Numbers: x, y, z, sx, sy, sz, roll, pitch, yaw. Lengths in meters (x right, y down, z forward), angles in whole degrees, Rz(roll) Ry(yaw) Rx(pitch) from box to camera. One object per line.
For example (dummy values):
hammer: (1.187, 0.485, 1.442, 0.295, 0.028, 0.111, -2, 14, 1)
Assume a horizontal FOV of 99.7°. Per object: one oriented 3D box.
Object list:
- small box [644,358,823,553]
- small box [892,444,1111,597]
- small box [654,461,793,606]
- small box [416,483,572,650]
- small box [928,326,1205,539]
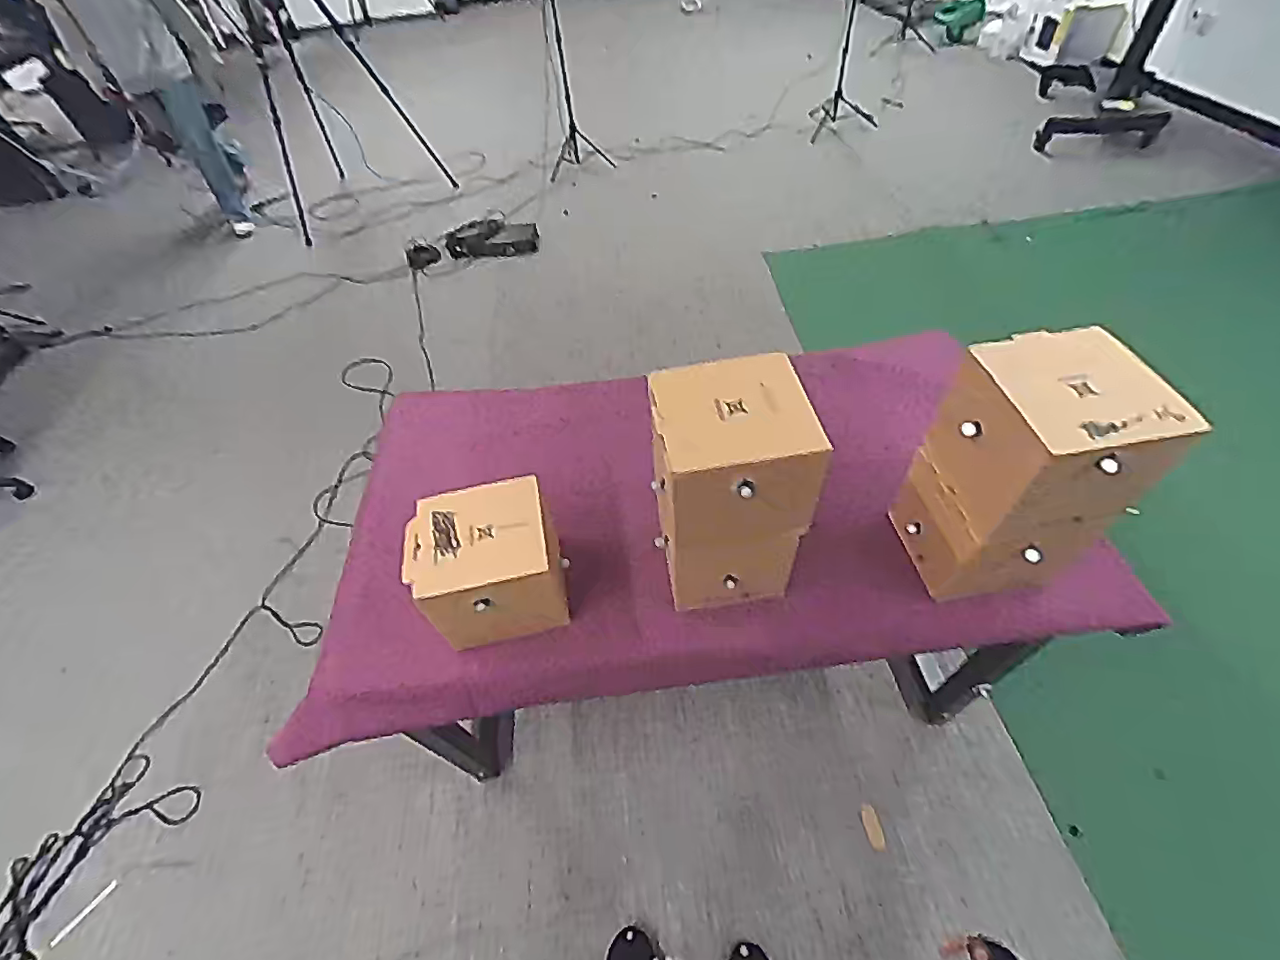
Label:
small box: (0.108, -0.025, 0.678, 0.179, 0.176, 0.168, -9, 51, 0)
small box: (0.497, 0.049, 0.779, 0.179, 0.176, 0.168, -11, 52, 0)
small box: (0.119, 0.074, 0.808, 0.168, 0.176, 0.179, -9, 50, 0)
small box: (-0.210, 0.133, 0.805, 0.179, 0.176, 0.168, -13, 51, -4)
small box: (0.482, -0.054, 0.652, 0.168, 0.176, 0.179, -11, 51, 1)
